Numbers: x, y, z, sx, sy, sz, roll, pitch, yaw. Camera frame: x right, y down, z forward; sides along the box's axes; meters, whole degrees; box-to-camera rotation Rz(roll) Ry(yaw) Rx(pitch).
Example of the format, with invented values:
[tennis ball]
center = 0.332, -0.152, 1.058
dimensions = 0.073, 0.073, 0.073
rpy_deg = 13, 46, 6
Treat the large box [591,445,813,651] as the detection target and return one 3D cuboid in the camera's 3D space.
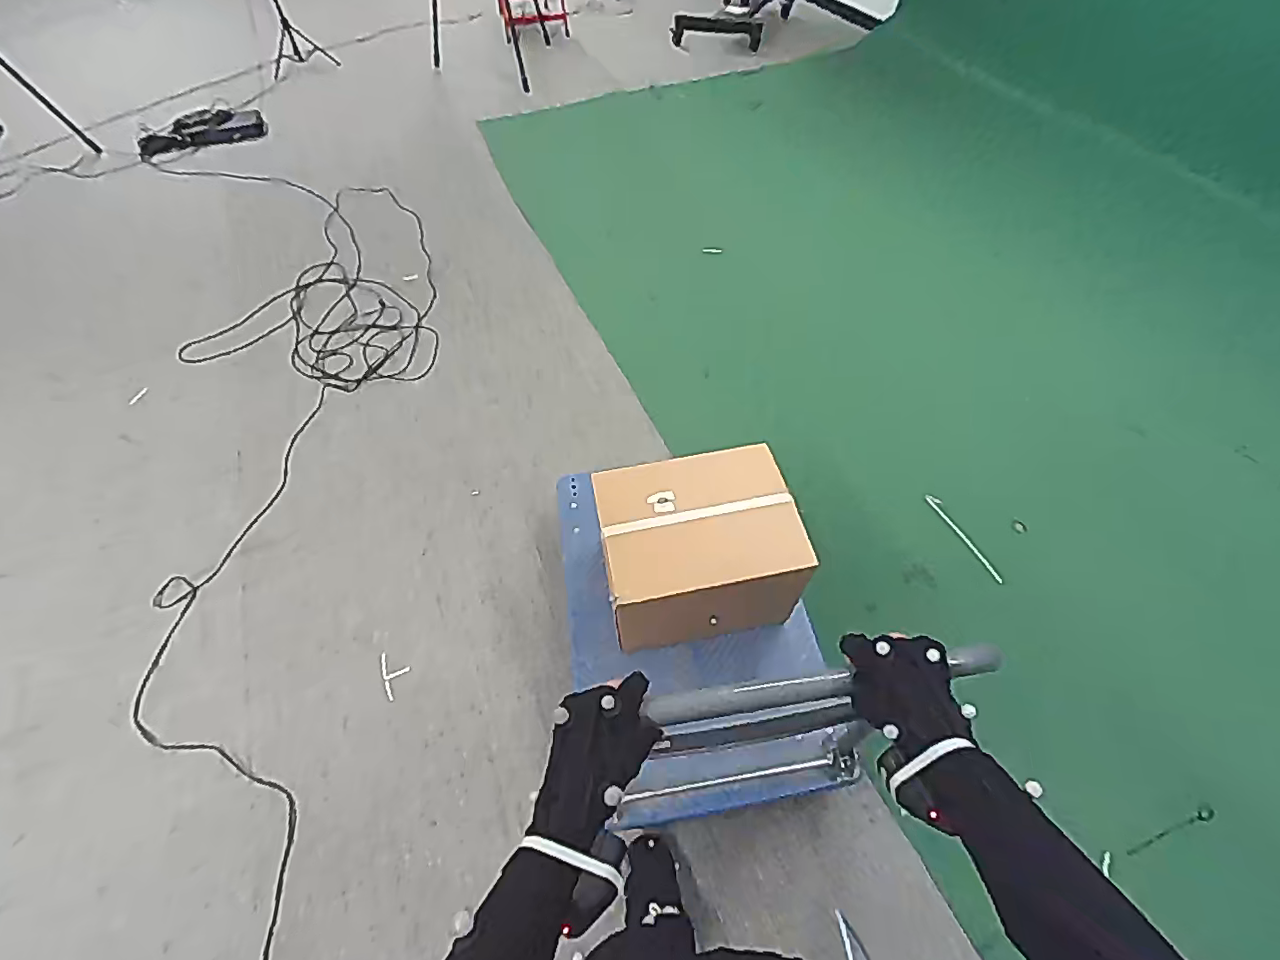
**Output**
[large box]
center = 0.123, 0.164, 1.244
dimensions = 0.408, 0.320, 0.320
rpy_deg = -11, 55, -6
